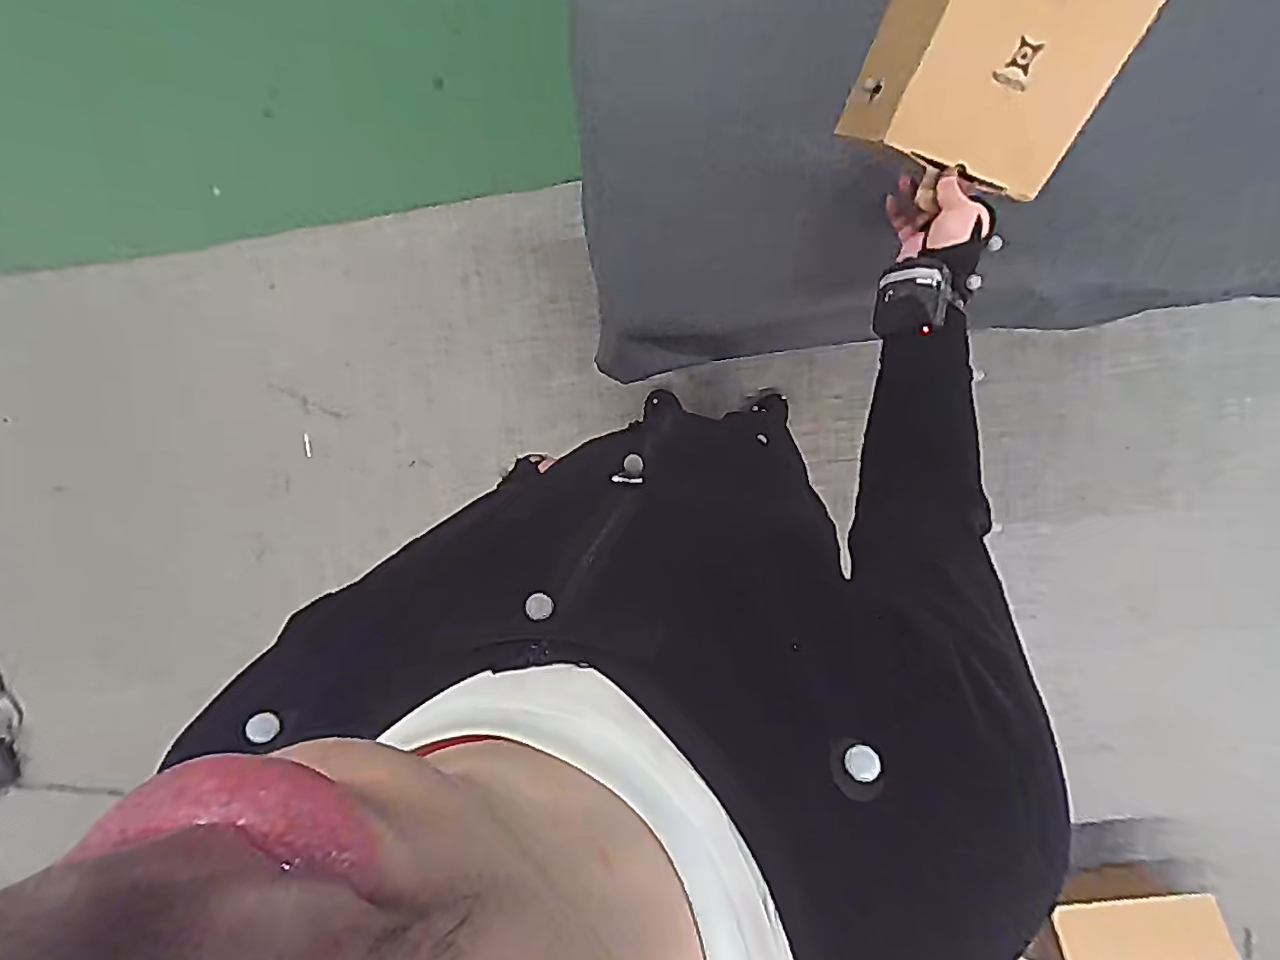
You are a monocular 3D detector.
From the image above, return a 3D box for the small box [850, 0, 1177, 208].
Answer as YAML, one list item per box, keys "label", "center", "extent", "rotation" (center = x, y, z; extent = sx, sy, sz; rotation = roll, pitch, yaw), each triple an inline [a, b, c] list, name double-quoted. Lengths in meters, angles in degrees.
- label: "small box"
  center: [0.331, -0.399, 0.528]
  extent: [0.168, 0.176, 0.179]
  rotation: [16, 125, -11]
